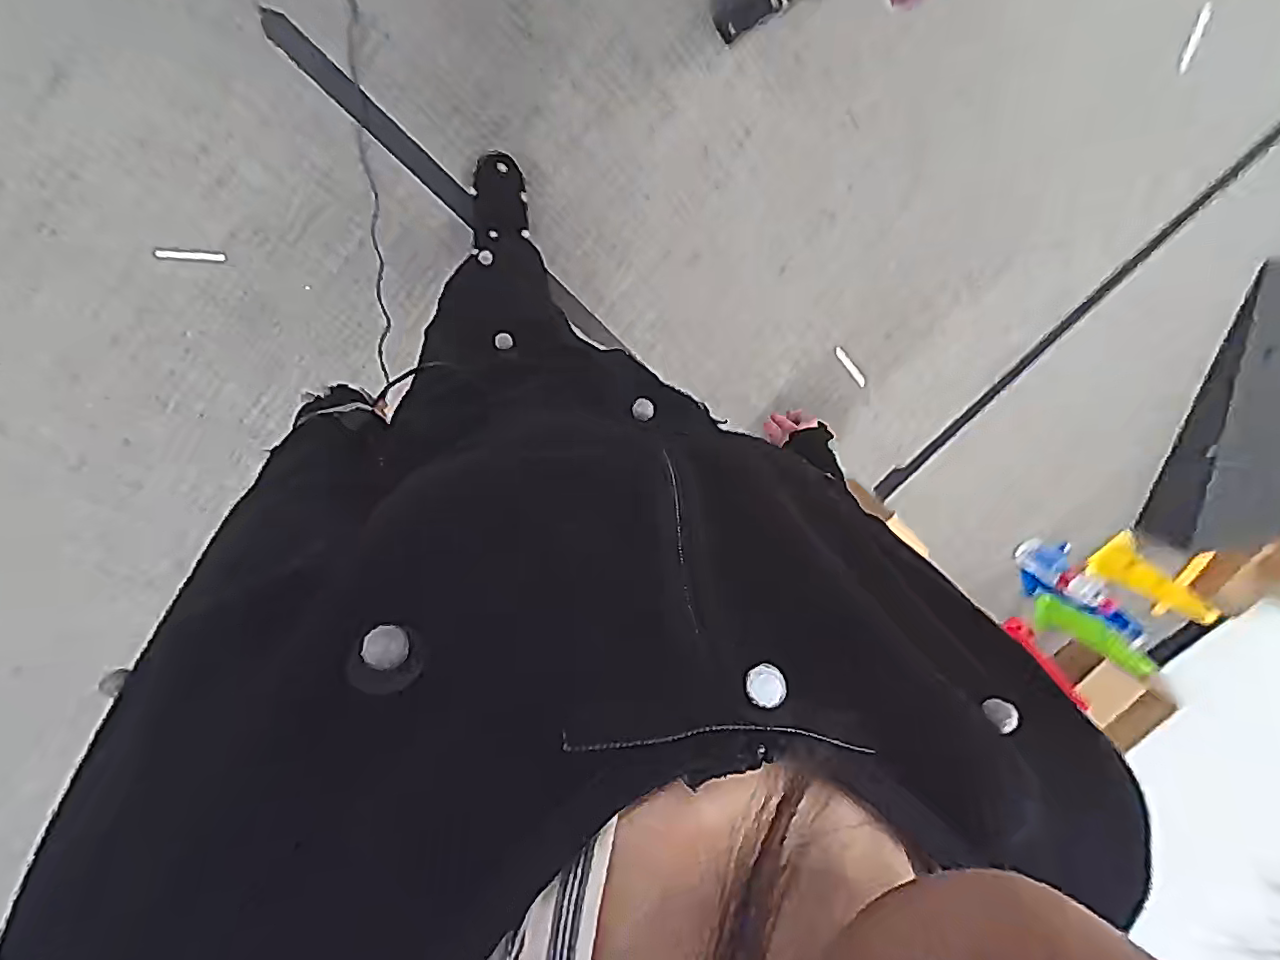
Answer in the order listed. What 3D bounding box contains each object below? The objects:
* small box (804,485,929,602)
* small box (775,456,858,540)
[{"bbox_3d":[0.521,0.143,1.264,0.179,0.176,0.168,-44,118,13],"label":"small box"},{"bbox_3d":[0.486,0.067,1.406,0.179,0.176,0.168,-44,118,13],"label":"small box"}]
